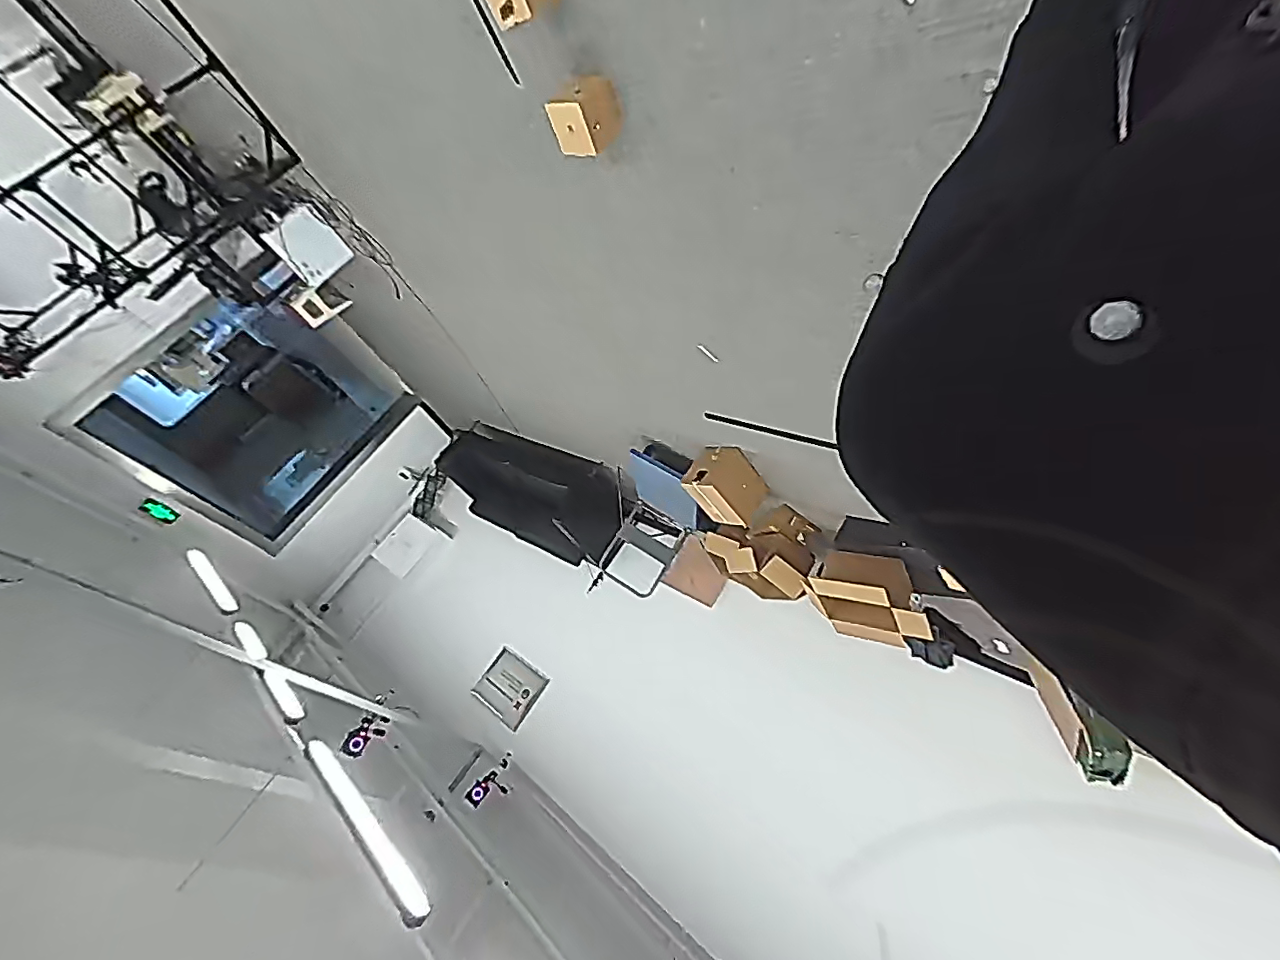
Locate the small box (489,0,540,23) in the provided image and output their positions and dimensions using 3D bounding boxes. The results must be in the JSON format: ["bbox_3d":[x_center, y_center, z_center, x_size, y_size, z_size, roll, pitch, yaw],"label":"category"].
[{"bbox_3d":[-0.367,-1.518,1.603,0.168,0.176,0.179,19,154,39],"label":"small box"}]

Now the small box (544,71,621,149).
[{"bbox_3d":[-0.194,-1.284,1.872,0.168,0.176,0.179,23,159,31],"label":"small box"}]
